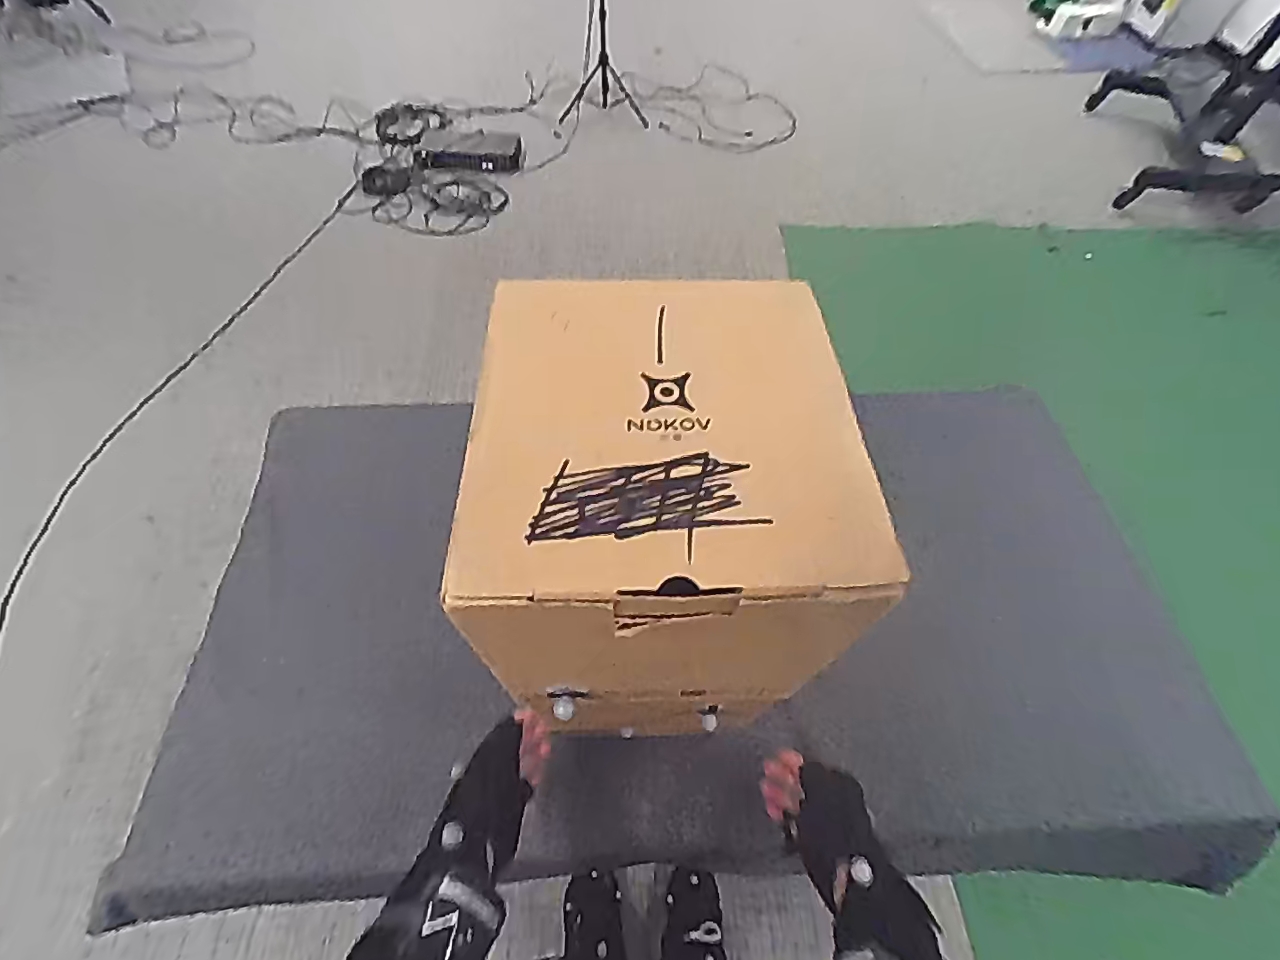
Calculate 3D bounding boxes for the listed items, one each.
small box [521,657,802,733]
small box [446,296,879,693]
[{"bbox_3d":[0.005,0.099,0.435,0.179,0.176,0.168,-3,58,-5],"label":"small box"},{"bbox_3d":[0.006,0.018,0.311,0.168,0.176,0.179,0,56,-3],"label":"small box"}]
